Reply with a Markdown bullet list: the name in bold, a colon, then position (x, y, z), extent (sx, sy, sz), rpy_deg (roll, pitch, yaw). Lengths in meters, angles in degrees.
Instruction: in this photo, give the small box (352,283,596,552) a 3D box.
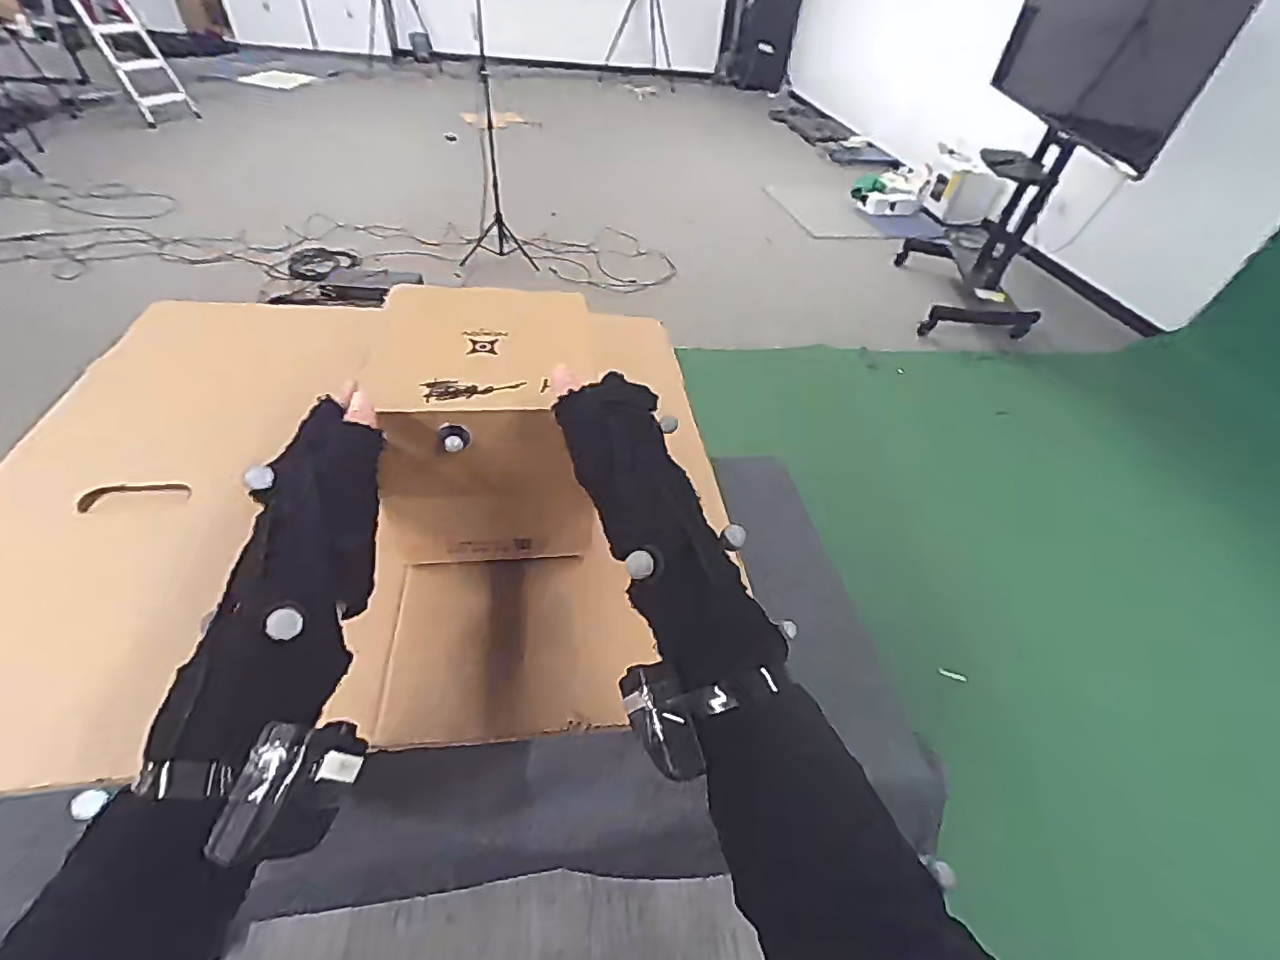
- **small box**: position (-0.129, -0.057, 0.484), extent (0.168, 0.176, 0.179), rpy_deg (-3, 45, -9)
